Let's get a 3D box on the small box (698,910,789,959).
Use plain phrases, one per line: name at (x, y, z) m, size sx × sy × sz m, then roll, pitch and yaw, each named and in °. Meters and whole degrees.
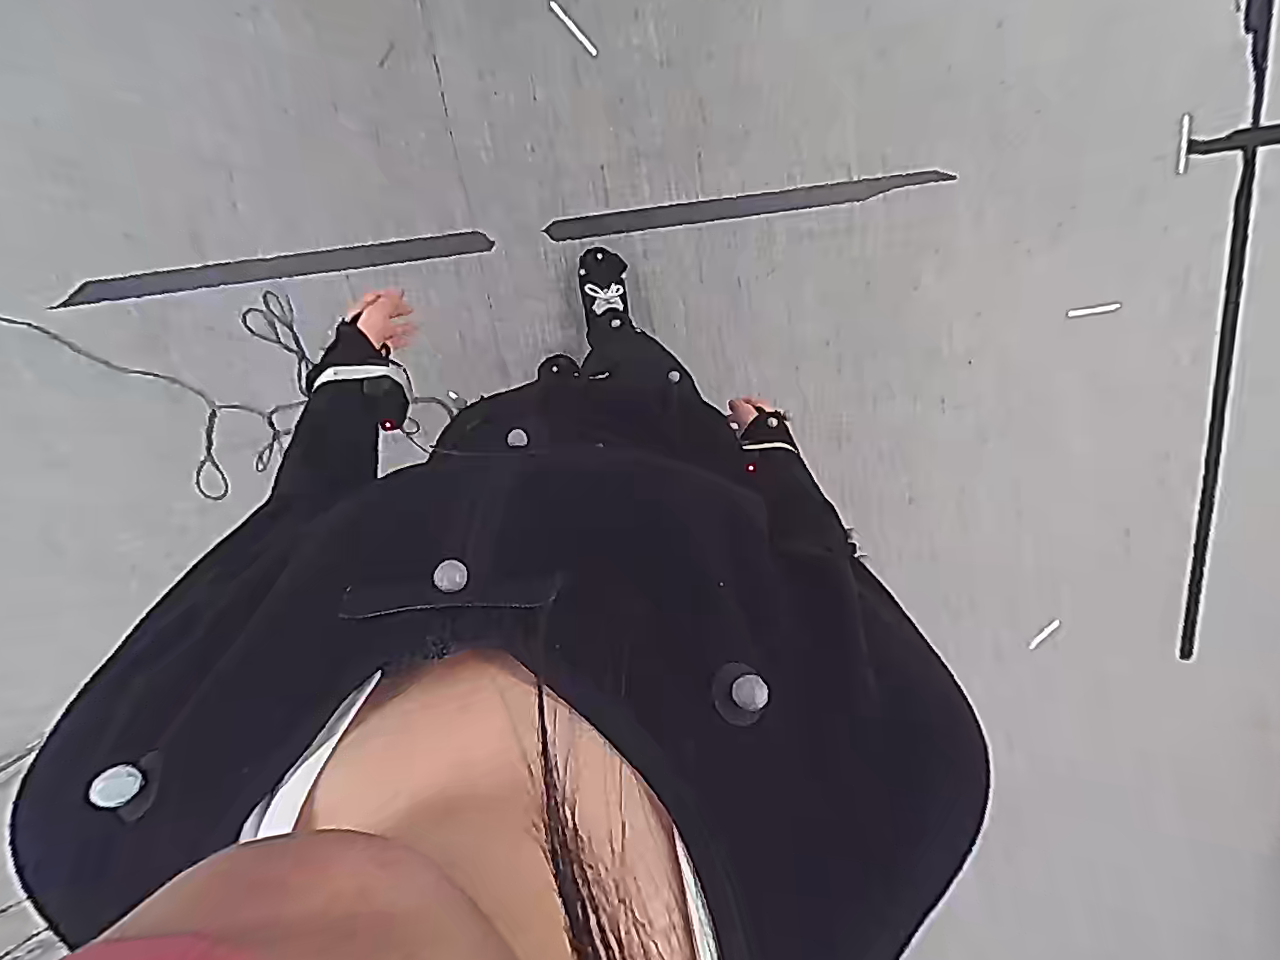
small box at (0.215, 1.022, 1.103) m, size 0.168 × 0.176 × 0.179 m, roll -5°, pitch 105°, yaw -4°
